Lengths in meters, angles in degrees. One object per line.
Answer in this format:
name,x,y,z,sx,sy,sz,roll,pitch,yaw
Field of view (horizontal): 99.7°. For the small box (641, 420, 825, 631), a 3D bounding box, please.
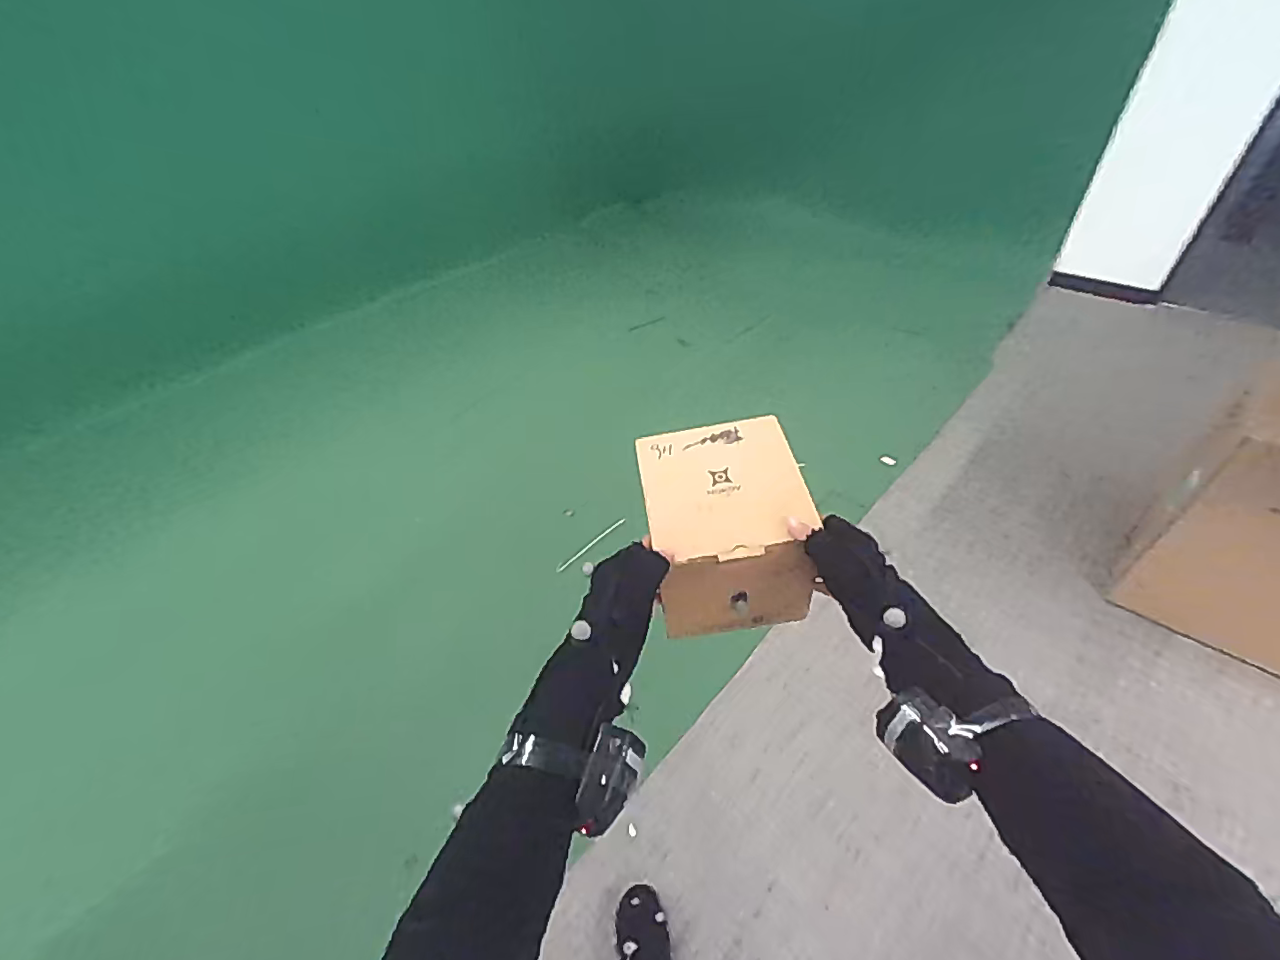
small box,0.099,0.060,0.625,0.168,0.176,0.179,-9,49,2
